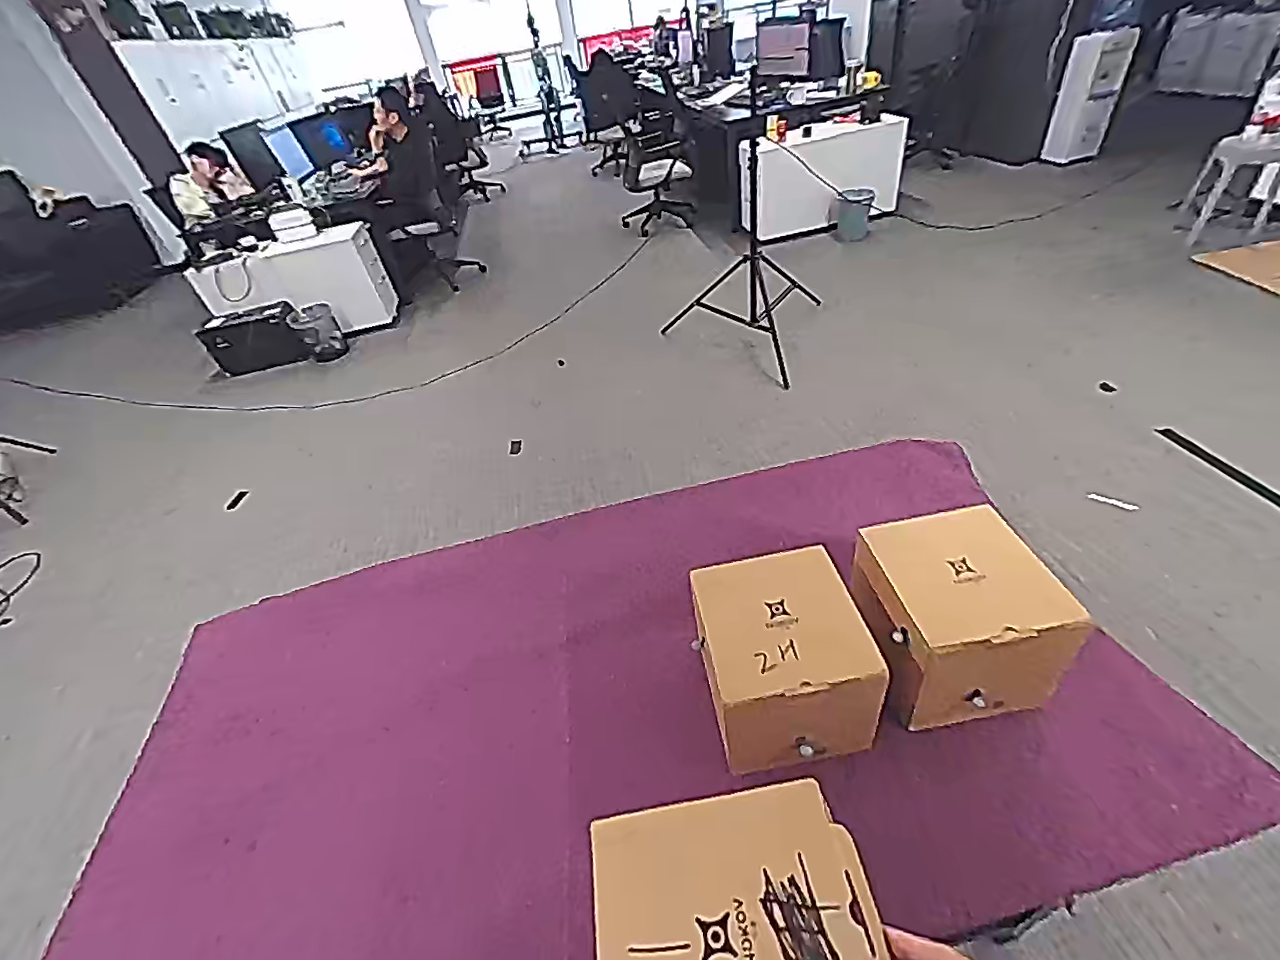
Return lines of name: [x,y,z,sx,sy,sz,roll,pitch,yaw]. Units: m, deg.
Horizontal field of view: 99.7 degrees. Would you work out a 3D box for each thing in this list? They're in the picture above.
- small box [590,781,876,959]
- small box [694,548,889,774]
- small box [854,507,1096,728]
small box: [0.068,0.353,0.398,0.179,0.176,0.168,-12,40,1]
small box: [0.164,0.210,0.635,0.168,0.176,0.179,-12,40,1]
small box: [0.369,0.161,0.642,0.168,0.176,0.179,-12,39,1]
